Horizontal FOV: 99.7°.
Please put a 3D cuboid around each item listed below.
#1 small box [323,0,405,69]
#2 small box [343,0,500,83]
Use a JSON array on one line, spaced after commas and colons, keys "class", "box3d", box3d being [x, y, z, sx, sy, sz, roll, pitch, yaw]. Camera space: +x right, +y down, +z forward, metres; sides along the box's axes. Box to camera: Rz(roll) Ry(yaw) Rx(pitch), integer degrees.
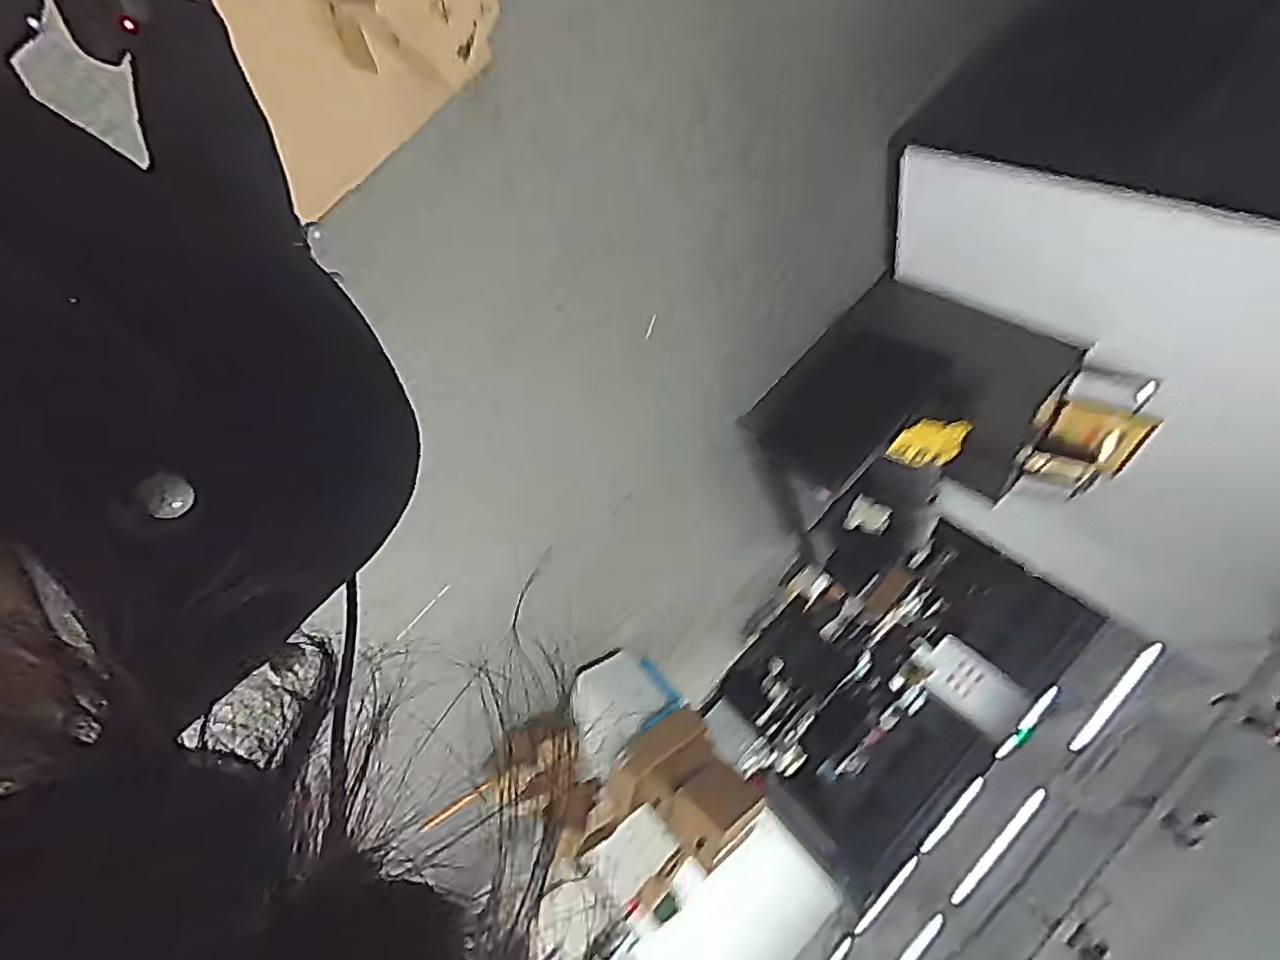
[{"class": "small box", "box3d": [-0.500, -0.930, 1.052, 0.179, 0.176, 0.168, -35, 144, -22]}, {"class": "small box", "box3d": [-0.392, -0.852, 0.957, 0.168, 0.176, 0.179, -56, 146, 8]}]
